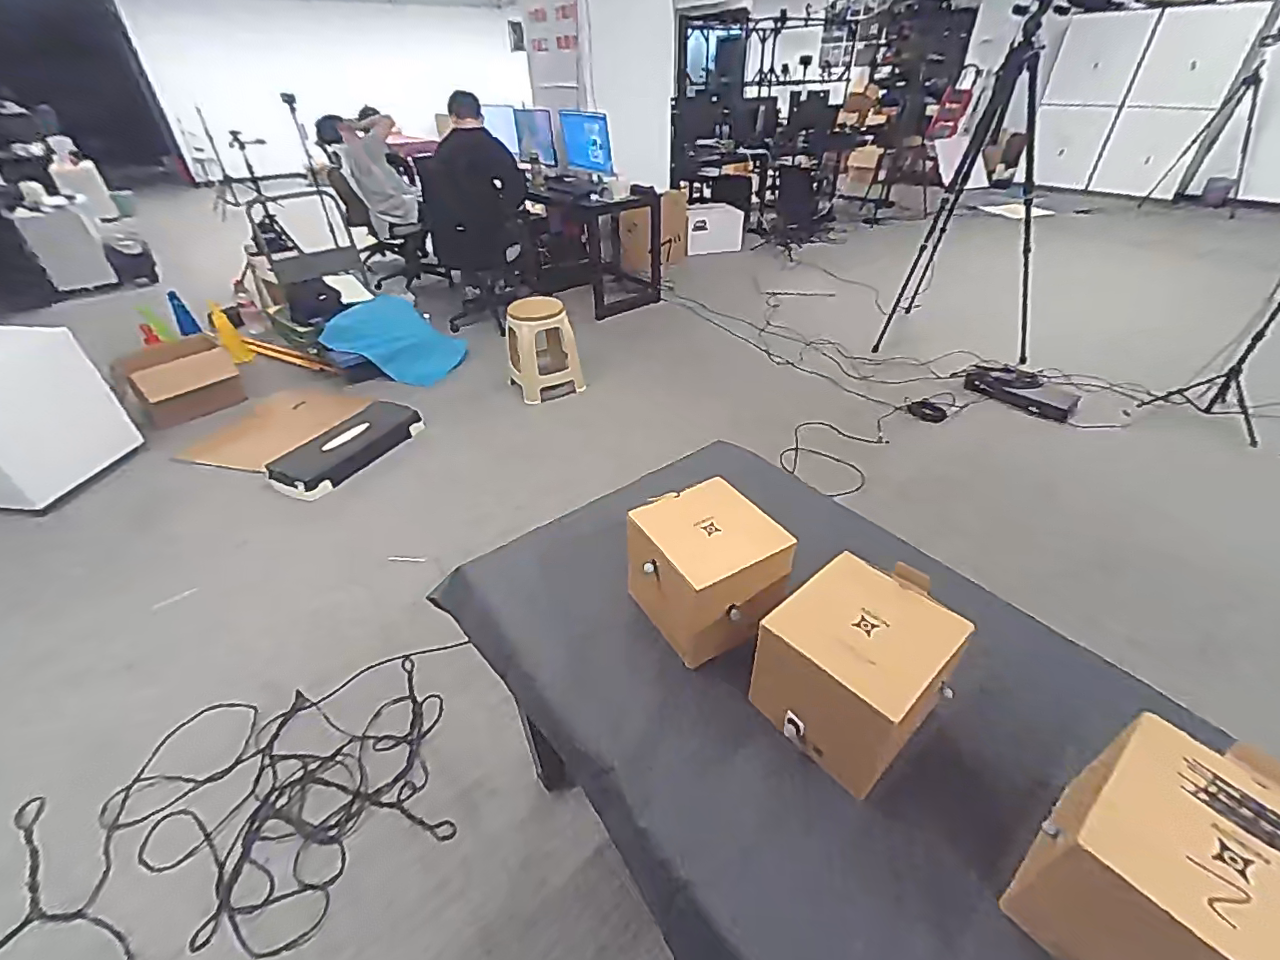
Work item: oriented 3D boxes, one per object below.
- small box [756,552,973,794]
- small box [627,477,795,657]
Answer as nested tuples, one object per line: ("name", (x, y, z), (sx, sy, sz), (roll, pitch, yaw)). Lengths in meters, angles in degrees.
("small box", (0.257, 0.226, 0.653), (0.179, 0.176, 0.168), (-29, 43, -32))
("small box", (0.096, 0.129, 0.787), (0.168, 0.176, 0.179), (-20, 40, -24))
